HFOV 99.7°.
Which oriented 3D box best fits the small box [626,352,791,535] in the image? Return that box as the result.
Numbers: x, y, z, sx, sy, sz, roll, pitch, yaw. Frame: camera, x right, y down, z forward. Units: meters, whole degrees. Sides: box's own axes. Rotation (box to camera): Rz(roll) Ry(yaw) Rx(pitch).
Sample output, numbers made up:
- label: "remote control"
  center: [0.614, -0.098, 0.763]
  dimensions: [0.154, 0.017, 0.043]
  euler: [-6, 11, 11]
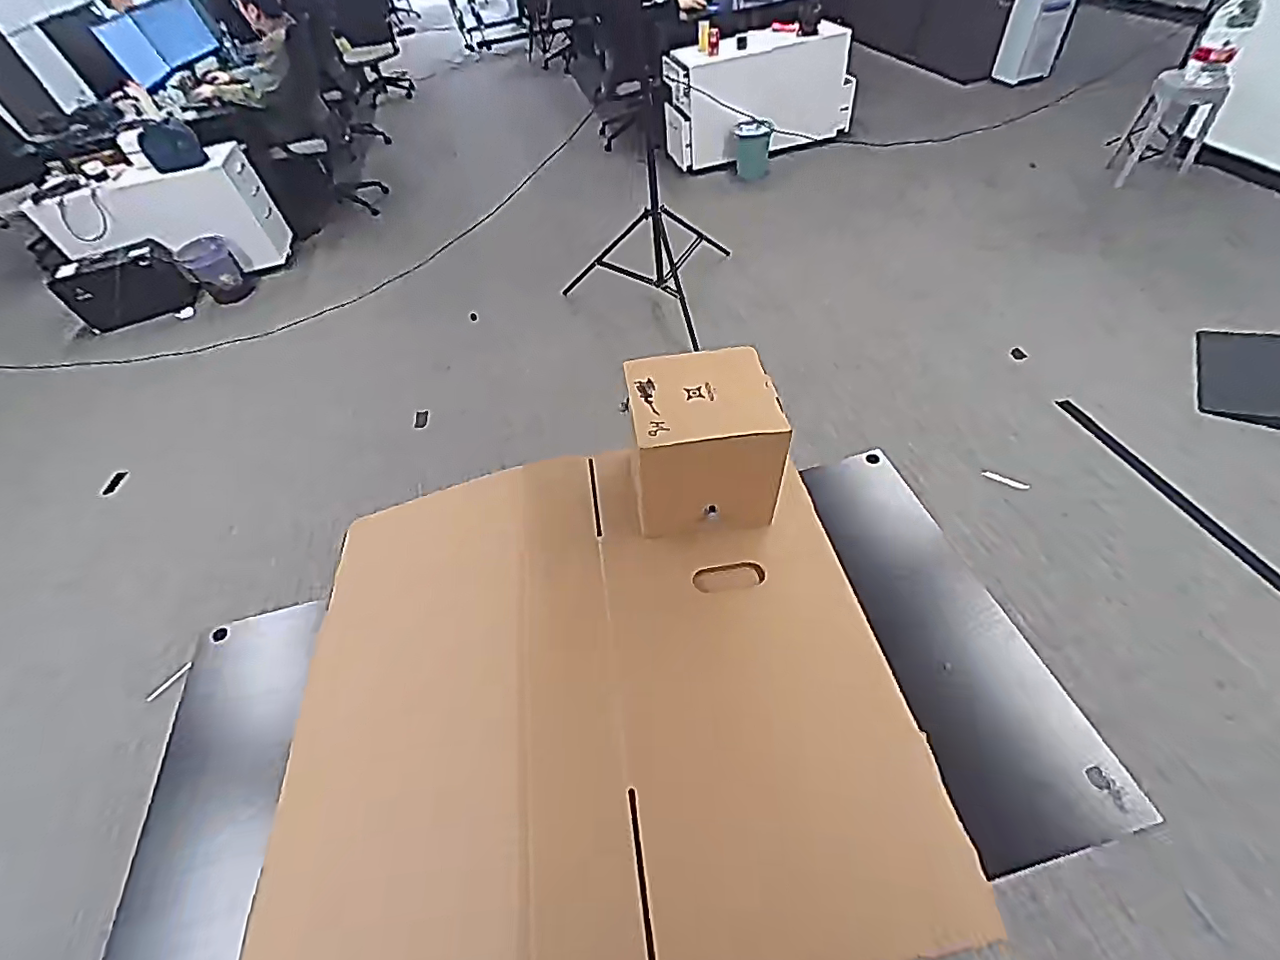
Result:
- label: "small box"
  center: [0.077, -0.046, 0.714]
  dimensions: [0.179, 0.176, 0.168]
  euler: [-7, 47, -4]
